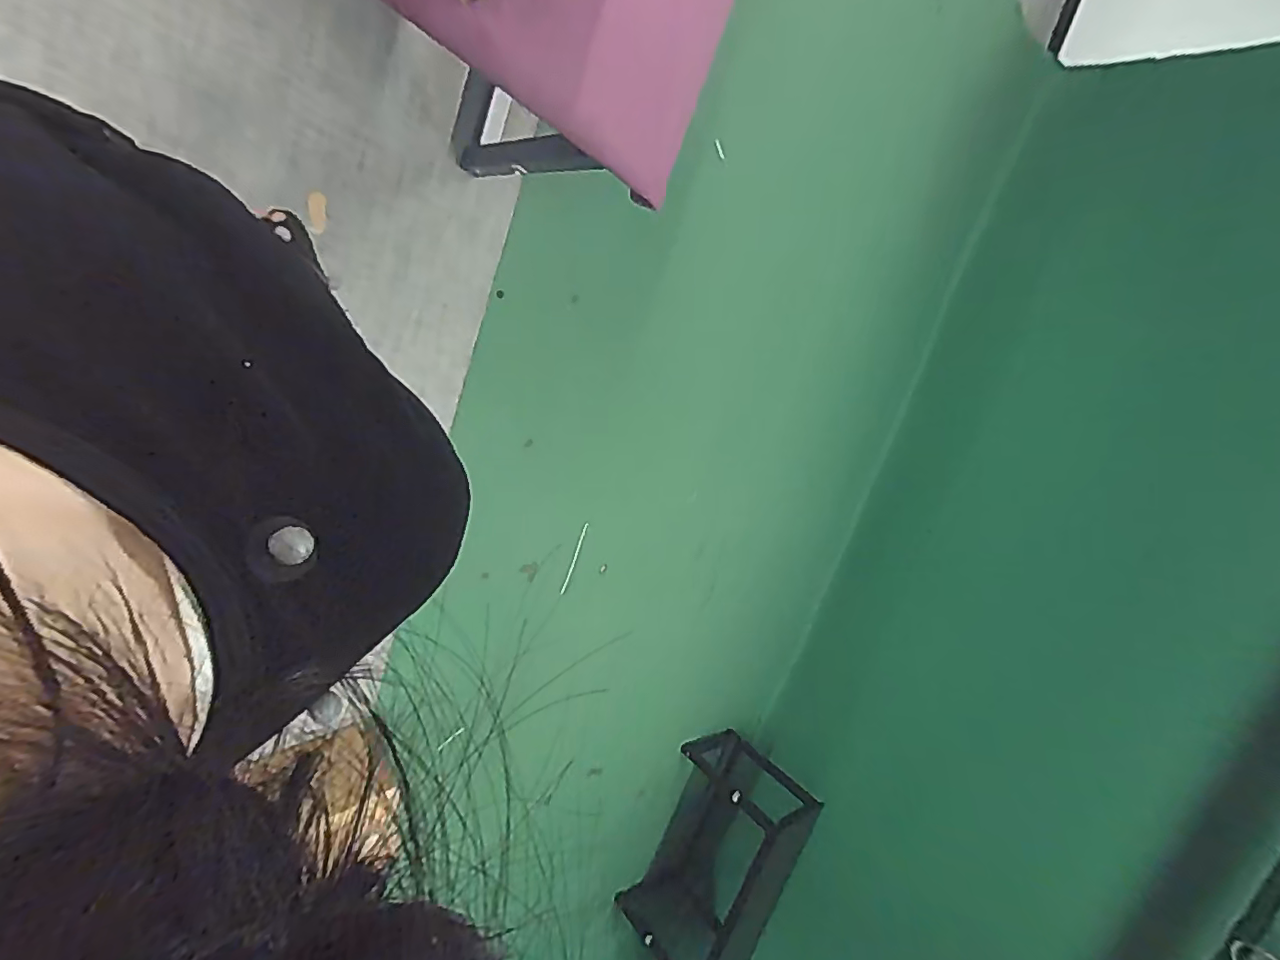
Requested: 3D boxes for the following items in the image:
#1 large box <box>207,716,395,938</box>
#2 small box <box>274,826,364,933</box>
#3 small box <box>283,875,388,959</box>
[{"bbox_3d":[-0.991,0.990,1.601,0.408,0.320,0.320,-10,119,-43],"label":"large box"},{"bbox_3d":[-0.841,1.050,1.412,0.168,0.176,0.179,-2,112,-44],"label":"small box"},{"bbox_3d":[-0.737,1.113,1.304,0.179,0.176,0.168,-1,111,-44],"label":"small box"}]
